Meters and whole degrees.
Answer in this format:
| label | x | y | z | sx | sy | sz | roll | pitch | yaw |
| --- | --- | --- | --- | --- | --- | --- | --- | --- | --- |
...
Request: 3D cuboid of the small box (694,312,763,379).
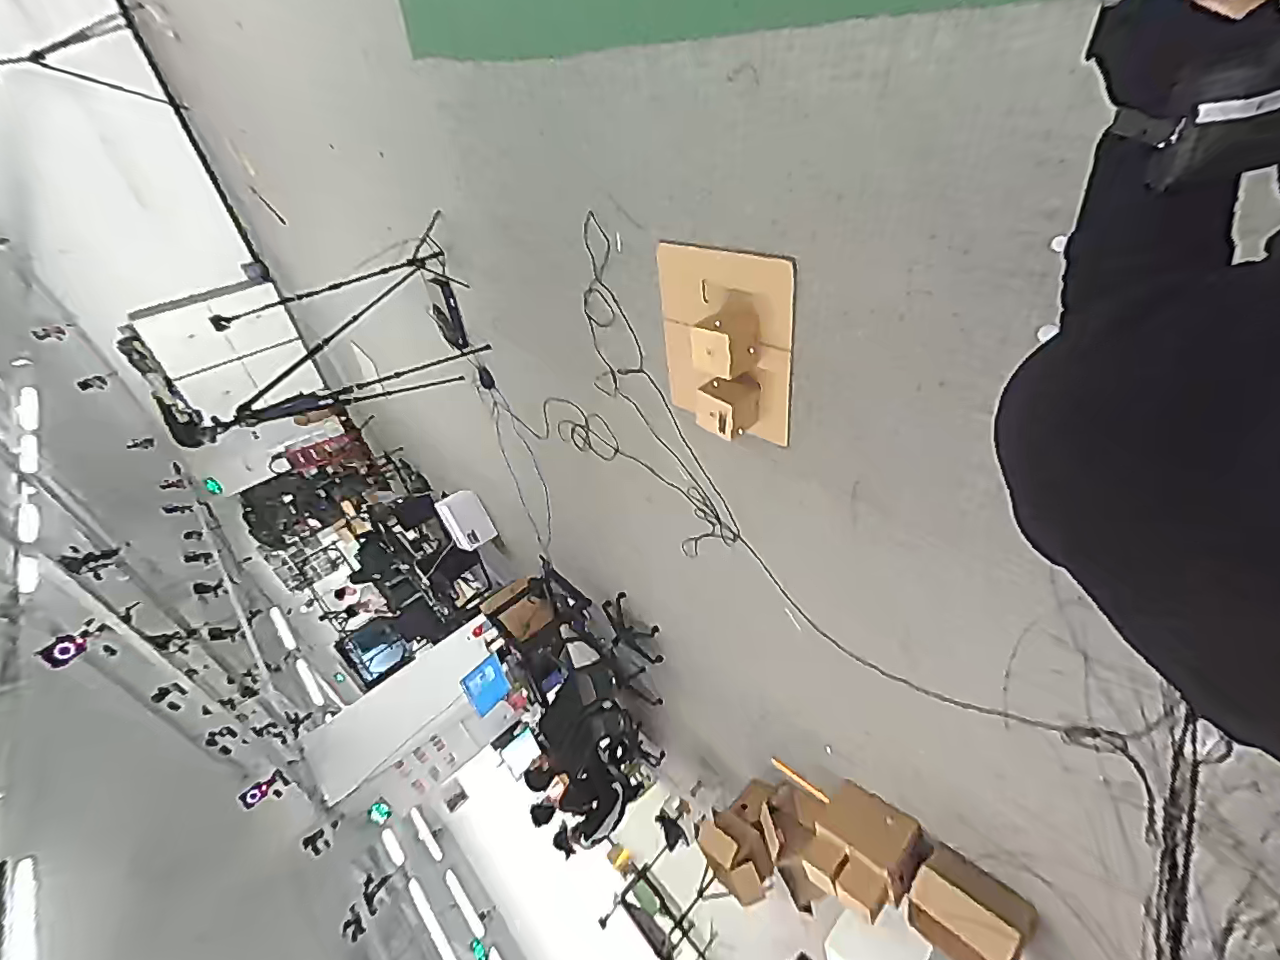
| label | x | y | z | sx | sy | sz | roll | pitch | yaw |
| --- | --- | --- | --- | --- | --- | --- | --- | --- | --- |
| small box | 0.314 | -0.480 | 1.907 | 0.179 | 0.176 | 0.168 | 26 | 139 | 40 |
